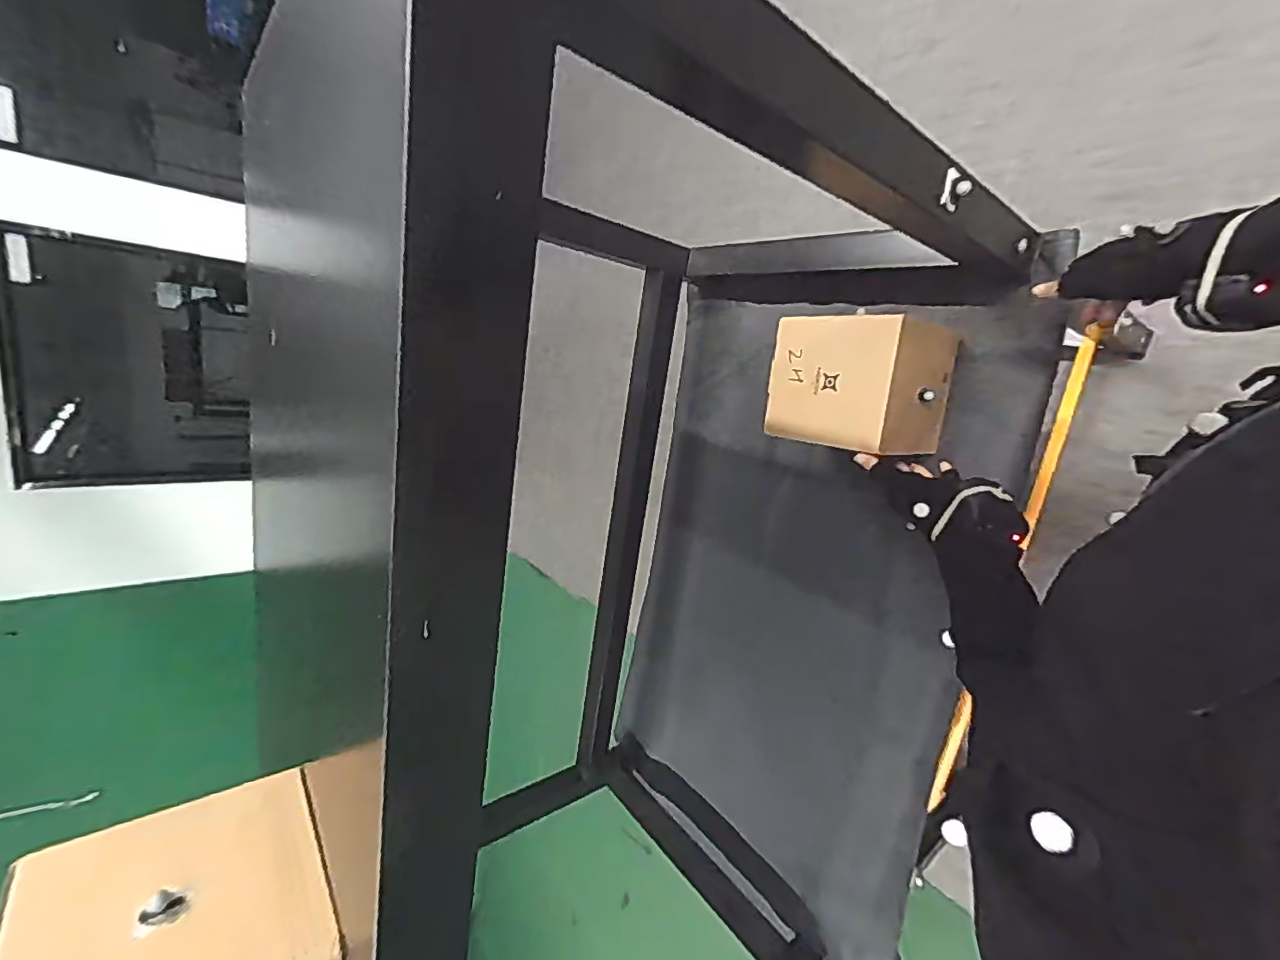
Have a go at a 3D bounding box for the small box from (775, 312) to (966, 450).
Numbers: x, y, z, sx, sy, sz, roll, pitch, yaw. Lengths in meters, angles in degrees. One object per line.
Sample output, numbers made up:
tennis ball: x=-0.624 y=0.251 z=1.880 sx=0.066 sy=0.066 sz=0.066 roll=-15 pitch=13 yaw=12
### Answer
small box: x=0.318 y=-0.137 z=0.748 sx=0.179 sy=0.176 sz=0.168 roll=18 pitch=106 yaw=50
